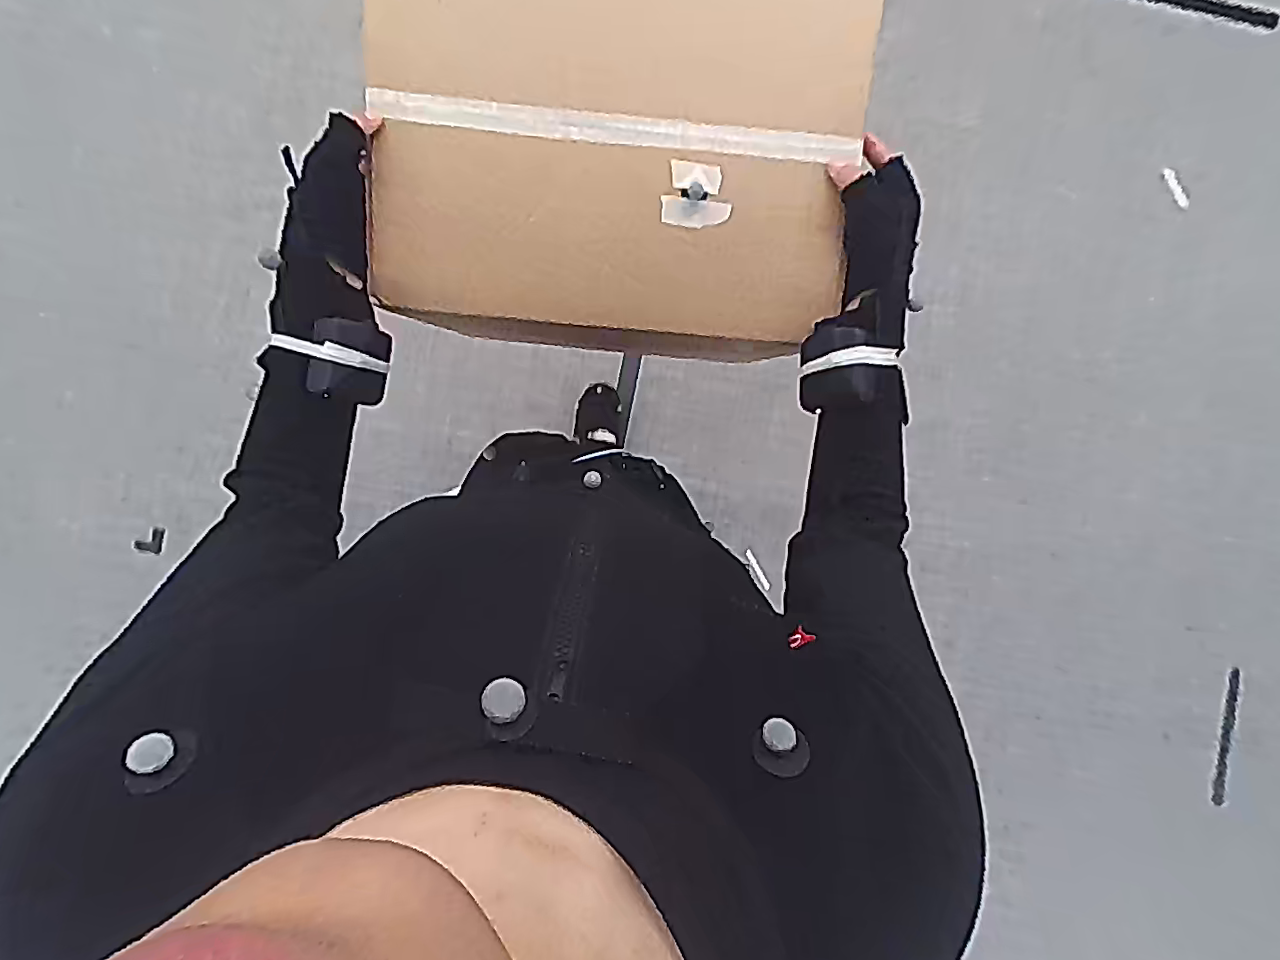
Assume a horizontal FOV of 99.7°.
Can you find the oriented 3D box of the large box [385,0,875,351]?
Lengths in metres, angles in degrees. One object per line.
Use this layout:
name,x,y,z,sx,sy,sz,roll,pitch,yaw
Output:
large box,-0.020,-0.324,0.602,0.408,0.320,0.320,5,101,-4
